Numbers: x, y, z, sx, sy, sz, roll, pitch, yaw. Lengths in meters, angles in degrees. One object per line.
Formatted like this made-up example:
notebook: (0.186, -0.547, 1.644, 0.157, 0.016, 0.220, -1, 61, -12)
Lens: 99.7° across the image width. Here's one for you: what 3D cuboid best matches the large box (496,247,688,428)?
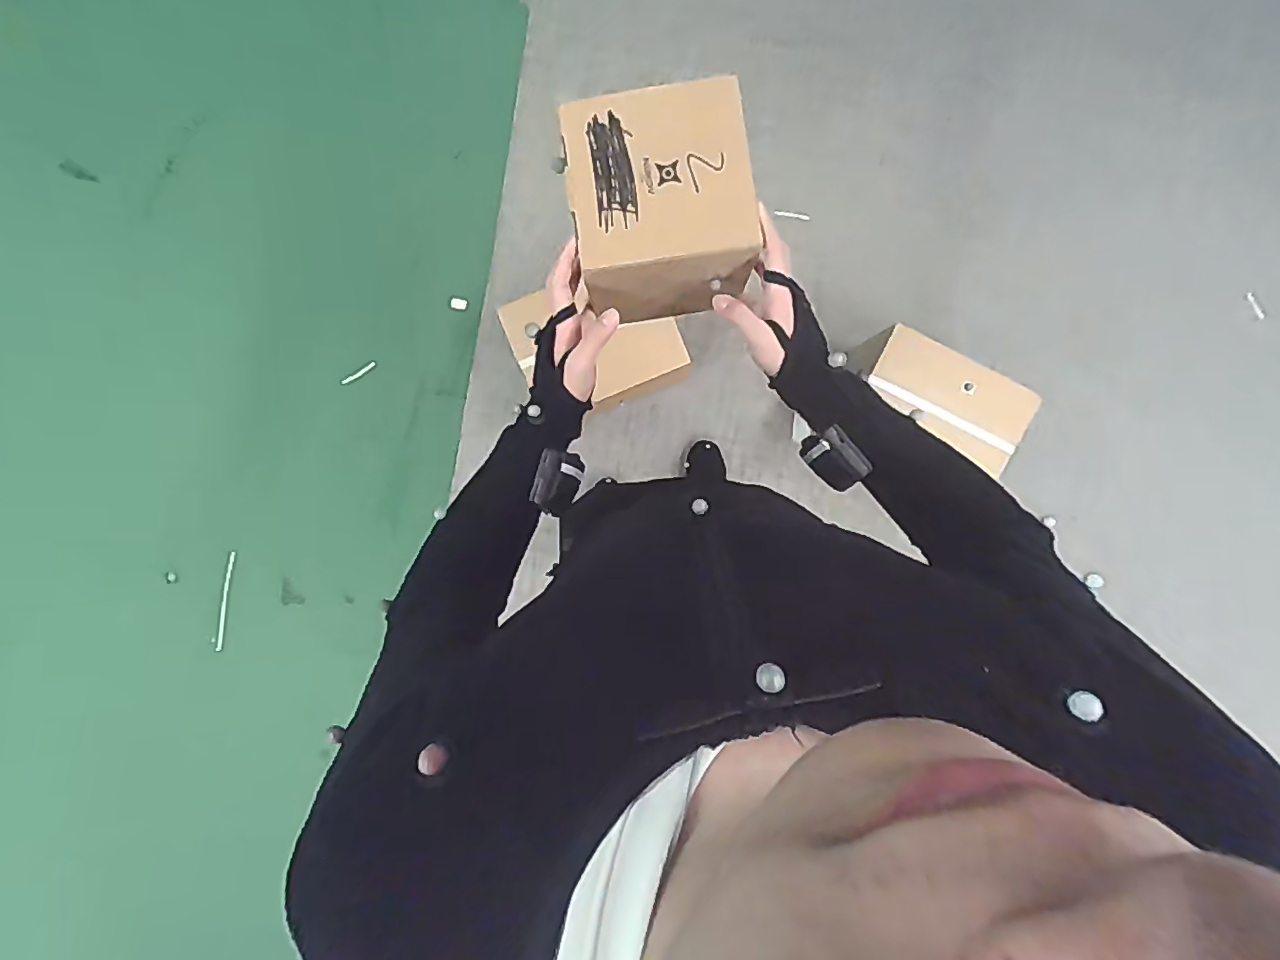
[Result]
large box: (-0.117, -0.366, 1.488, 0.408, 0.320, 0.320, -23, 91, 2)
